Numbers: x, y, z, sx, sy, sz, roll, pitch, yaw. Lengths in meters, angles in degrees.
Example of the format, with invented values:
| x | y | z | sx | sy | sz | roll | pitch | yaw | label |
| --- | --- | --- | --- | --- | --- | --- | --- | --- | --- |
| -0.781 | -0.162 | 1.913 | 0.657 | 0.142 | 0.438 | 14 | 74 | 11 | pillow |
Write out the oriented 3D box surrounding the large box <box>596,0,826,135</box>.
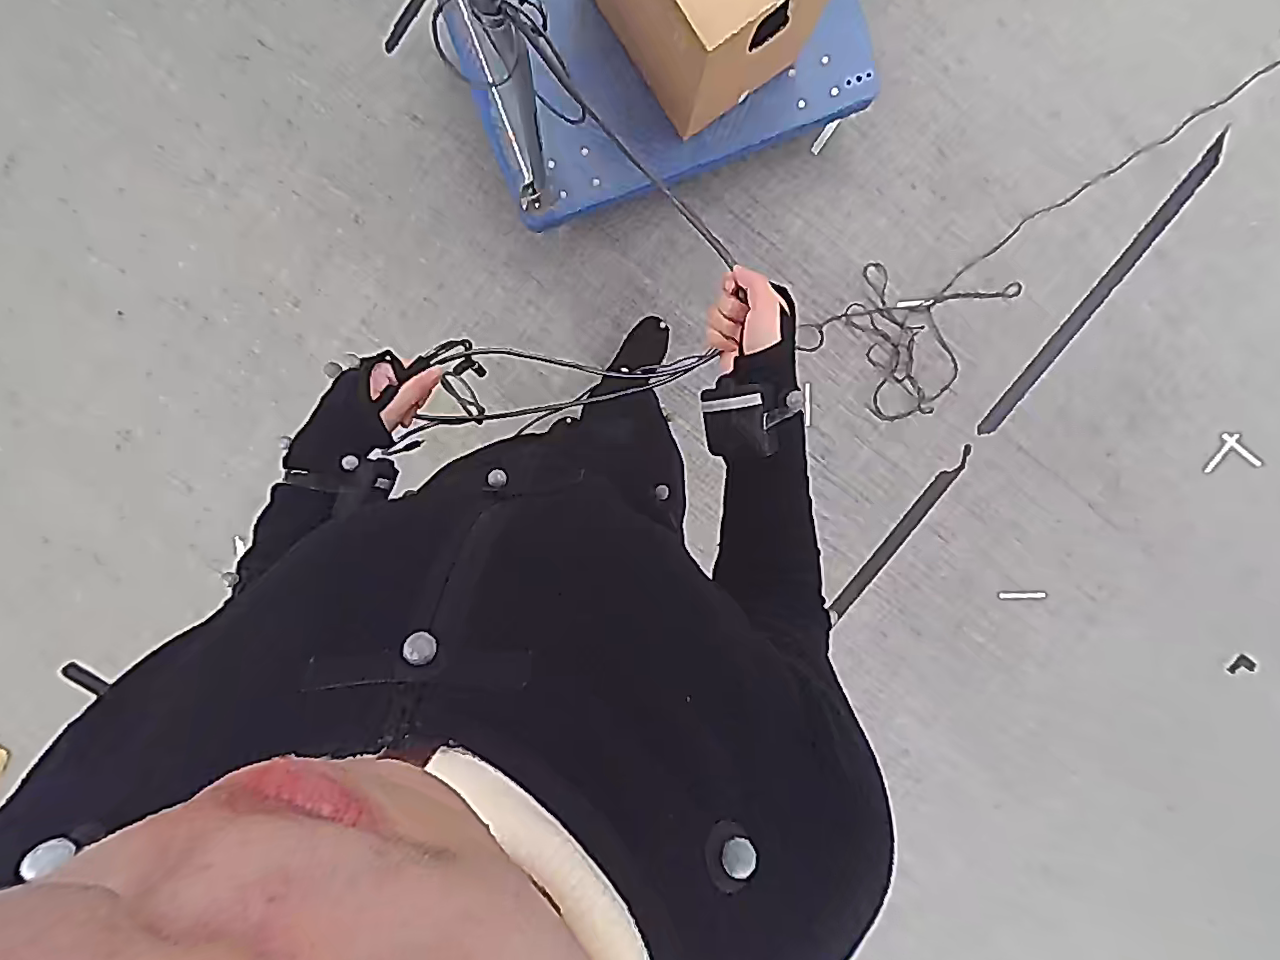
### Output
| x | y | z | sx | sy | sz | roll | pitch | yaw | label |
| --- | --- | --- | --- | --- | --- | --- | --- | --- | --- |
| 0.117 | -0.991 | 1.031 | 0.320 | 0.320 | 0.408 | -35 | 99 | 3 | large box |
